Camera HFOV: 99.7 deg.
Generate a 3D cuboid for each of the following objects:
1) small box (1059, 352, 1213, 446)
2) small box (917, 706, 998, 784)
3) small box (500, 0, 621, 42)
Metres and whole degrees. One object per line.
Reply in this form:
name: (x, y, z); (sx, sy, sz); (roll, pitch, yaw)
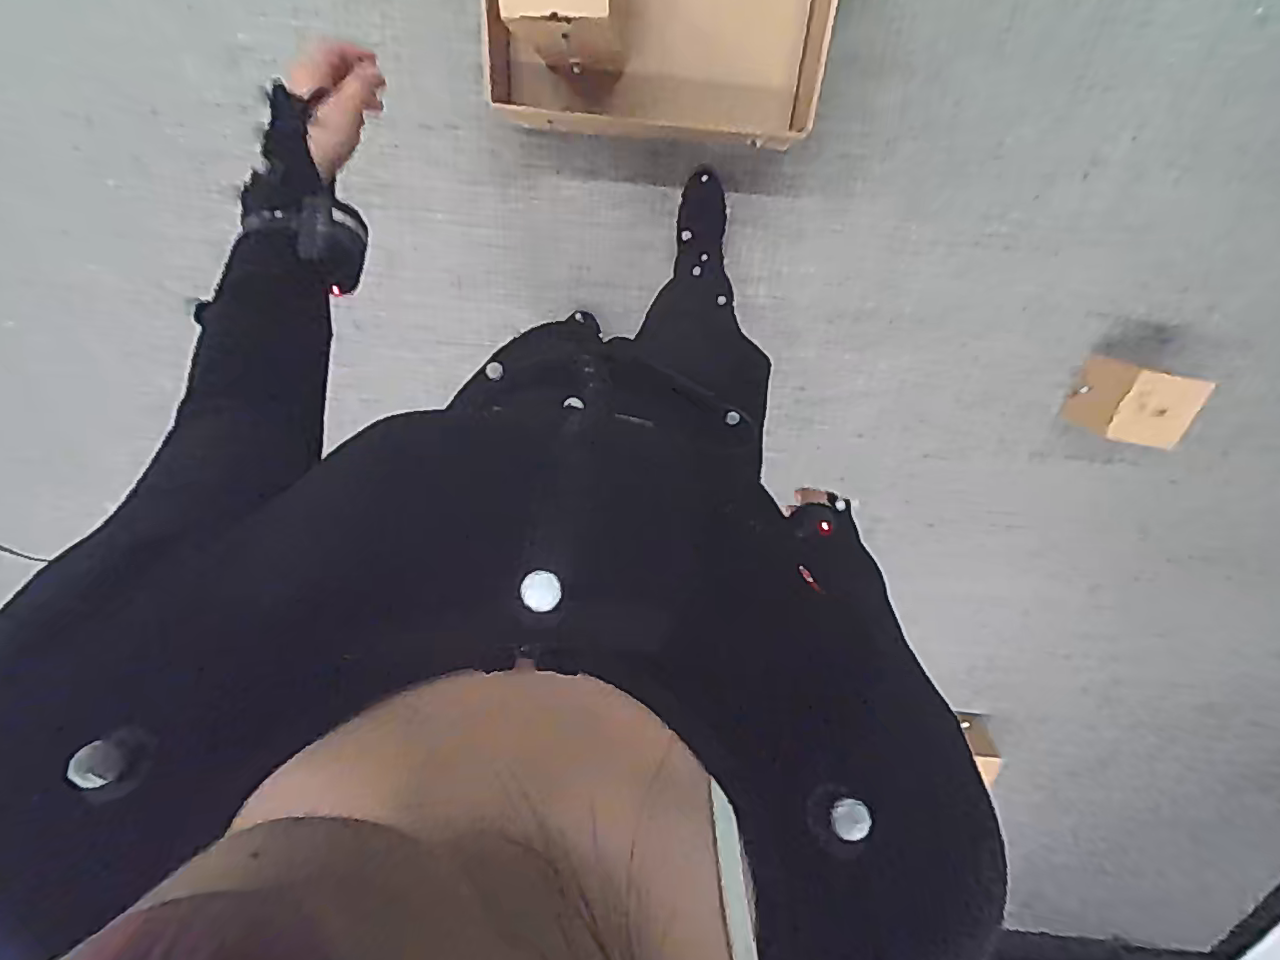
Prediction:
small box: (1.182, -0.200, 1.306); (0.179, 0.176, 0.168); (10, 117, -2)
small box: (1.099, 0.925, 1.891); (0.168, 0.176, 0.179); (6, 117, 0)
small box: (-0.117, -0.793, 0.823); (0.168, 0.176, 0.179); (3, 119, 2)
